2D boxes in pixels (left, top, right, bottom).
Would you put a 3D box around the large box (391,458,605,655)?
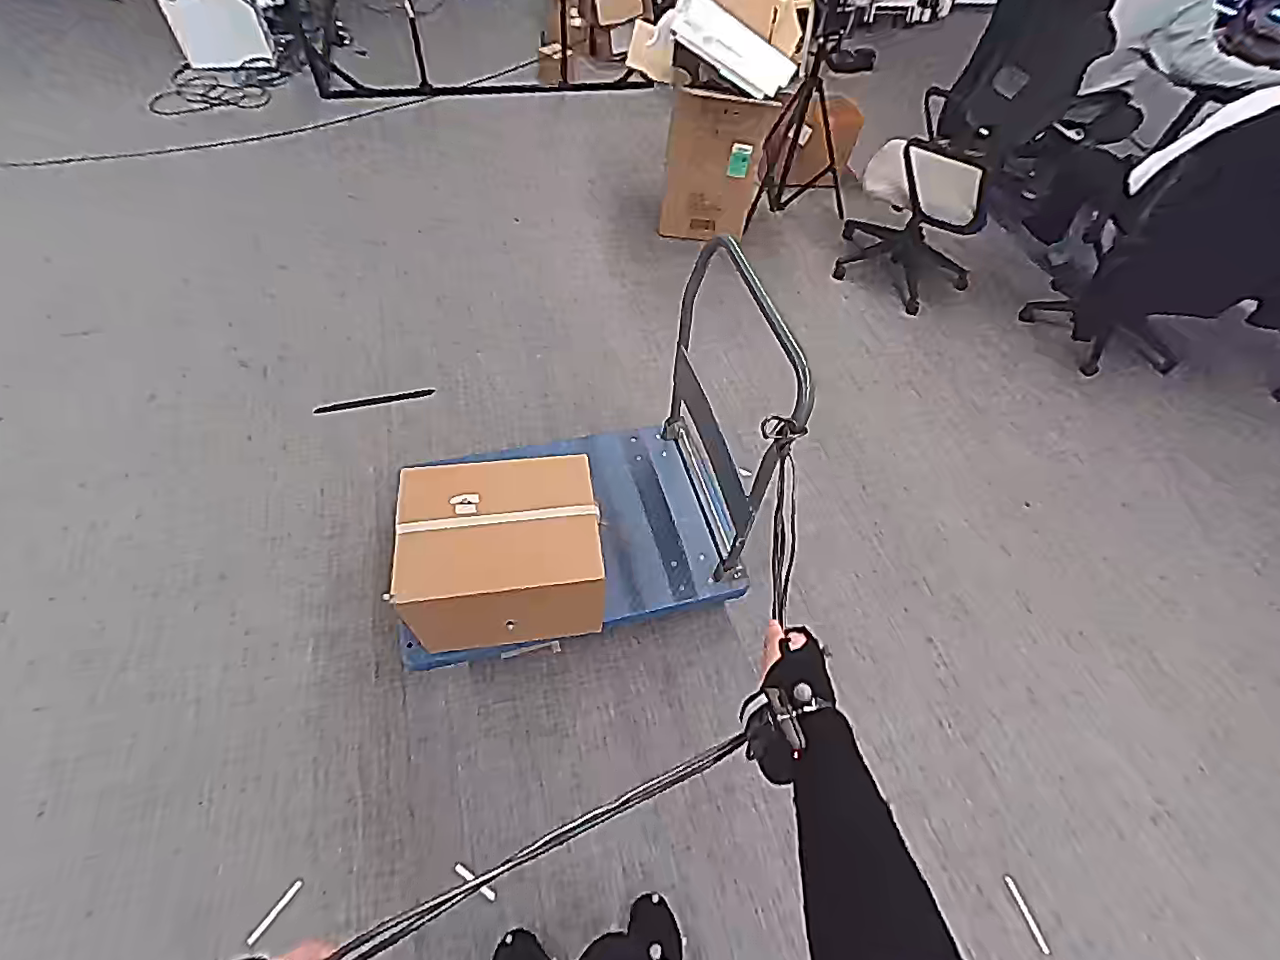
[{"bbox_3d":[-0.300,0.178,1.228,0.408,0.320,0.320,-5,55,-9],"label":"large box"}]
